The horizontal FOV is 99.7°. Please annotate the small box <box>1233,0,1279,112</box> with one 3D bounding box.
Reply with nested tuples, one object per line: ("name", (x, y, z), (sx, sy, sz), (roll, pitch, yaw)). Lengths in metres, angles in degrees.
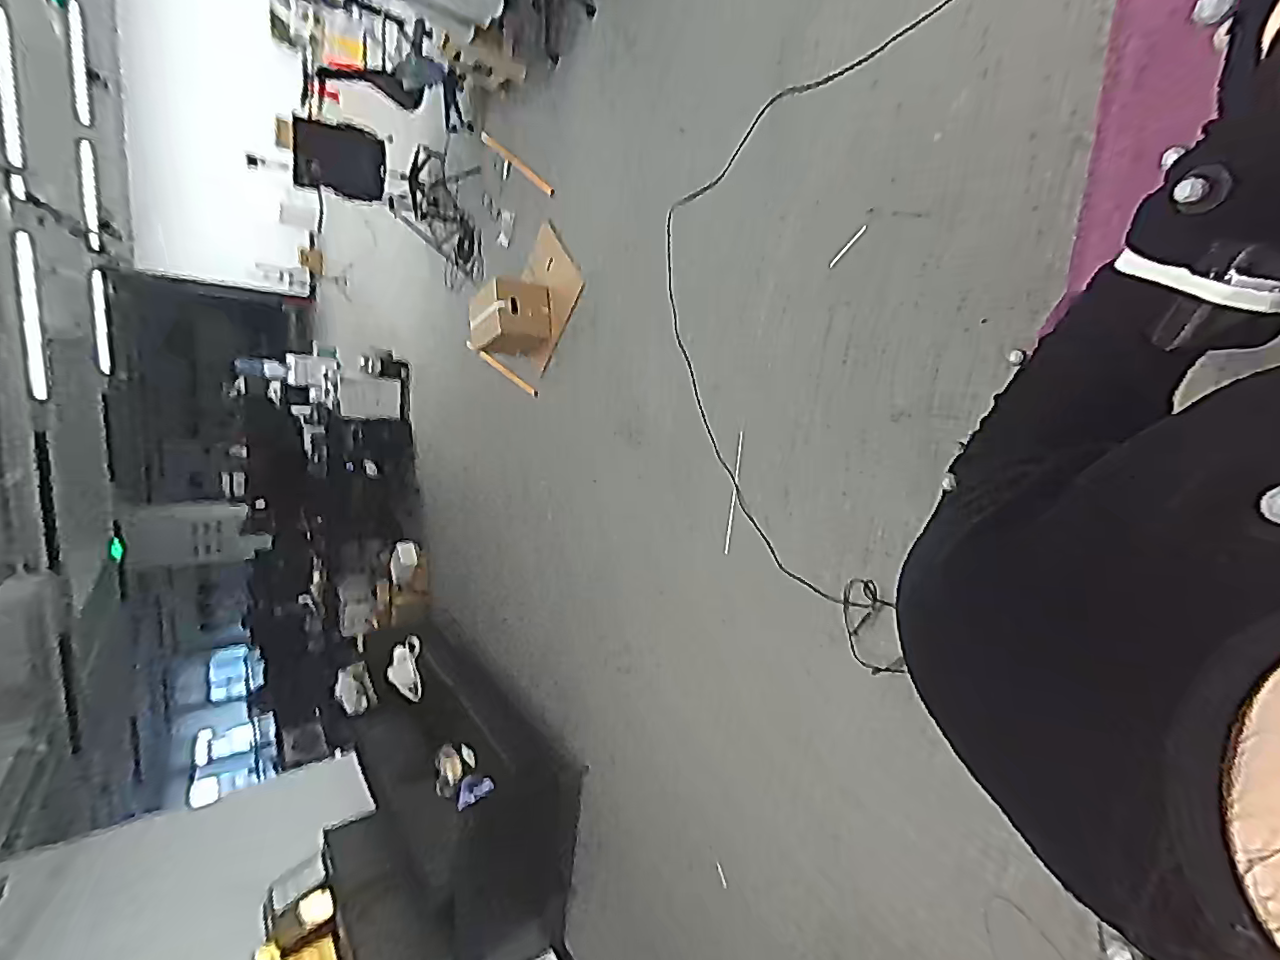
("small box", (0.487, -0.342, 0.299), (0.179, 0.176, 0.168), (18, 108, 50))
